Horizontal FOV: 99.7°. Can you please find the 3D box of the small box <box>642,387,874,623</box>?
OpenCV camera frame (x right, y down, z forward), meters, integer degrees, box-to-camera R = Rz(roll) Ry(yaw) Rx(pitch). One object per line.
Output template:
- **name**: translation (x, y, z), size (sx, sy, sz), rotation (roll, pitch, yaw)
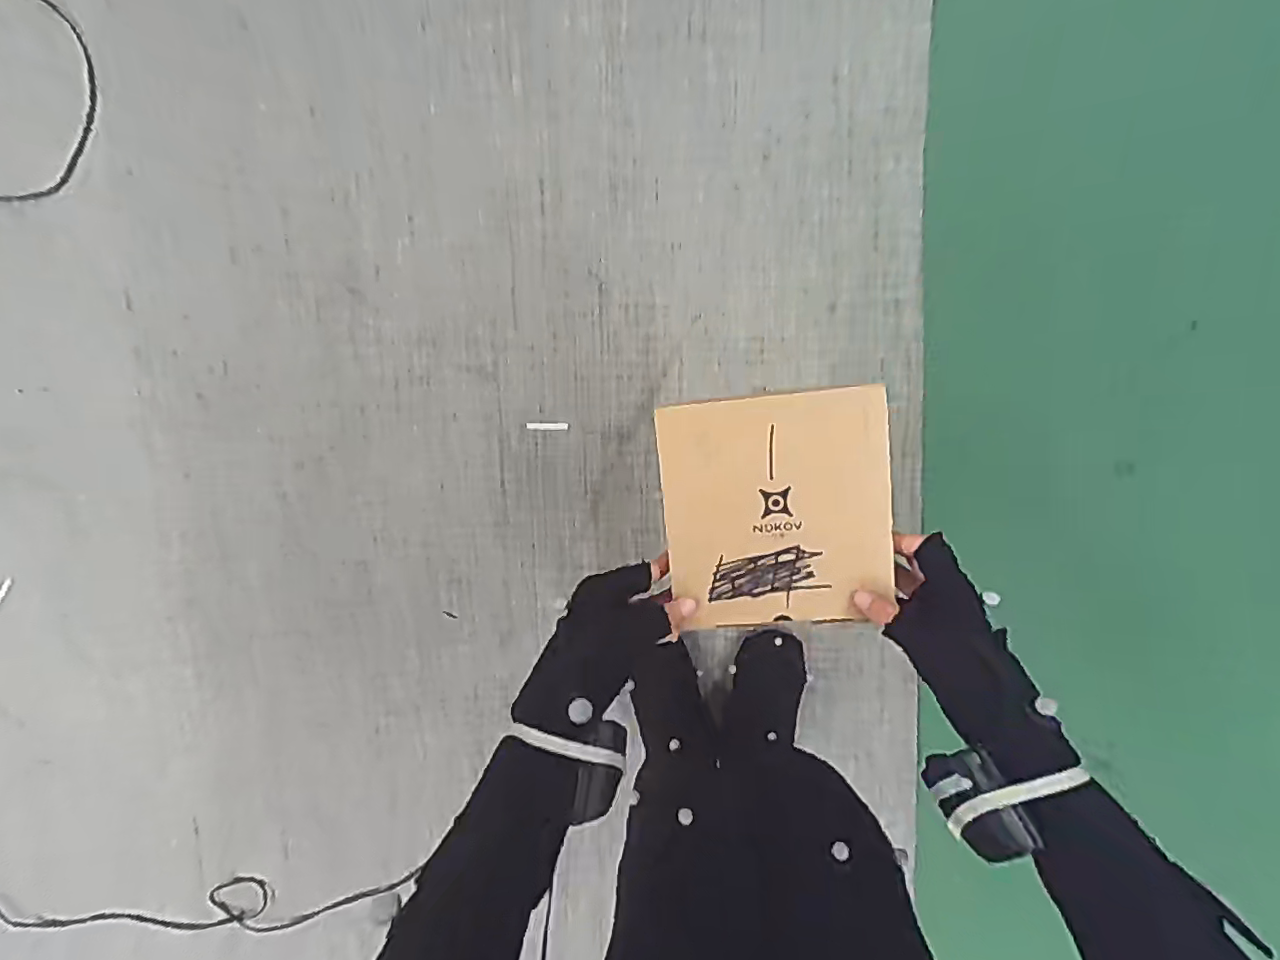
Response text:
- **small box**: translation (0.100, 0.011, 0.486), size (0.168, 0.176, 0.179), rotation (-5, 98, 8)
